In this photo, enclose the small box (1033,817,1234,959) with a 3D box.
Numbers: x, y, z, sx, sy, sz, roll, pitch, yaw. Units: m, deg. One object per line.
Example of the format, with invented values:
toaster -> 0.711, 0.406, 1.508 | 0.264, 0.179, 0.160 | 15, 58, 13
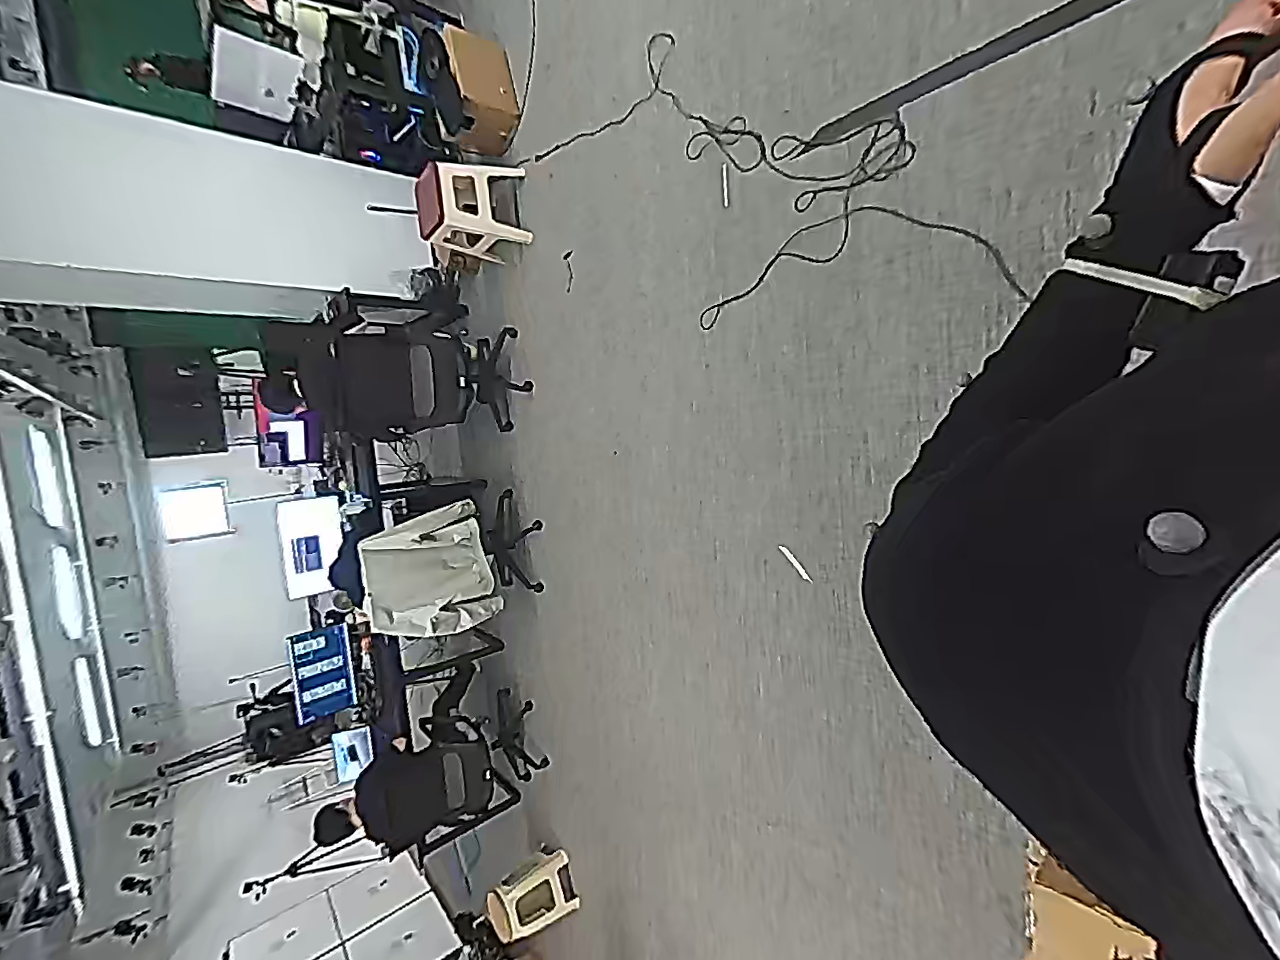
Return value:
small box -> 0.614, 0.578, 0.676 | 0.168, 0.176, 0.179 | 4, 98, 49
